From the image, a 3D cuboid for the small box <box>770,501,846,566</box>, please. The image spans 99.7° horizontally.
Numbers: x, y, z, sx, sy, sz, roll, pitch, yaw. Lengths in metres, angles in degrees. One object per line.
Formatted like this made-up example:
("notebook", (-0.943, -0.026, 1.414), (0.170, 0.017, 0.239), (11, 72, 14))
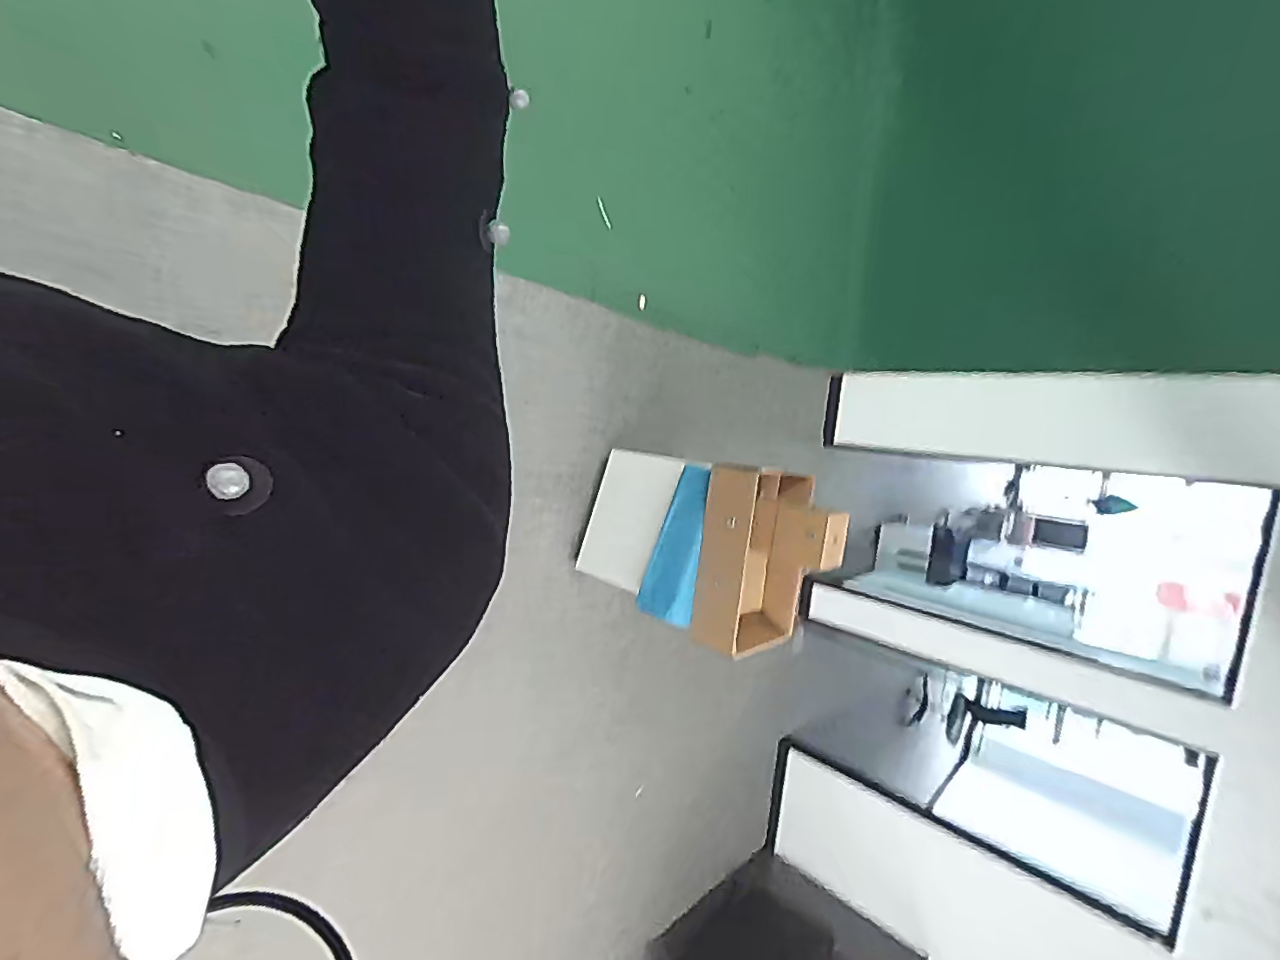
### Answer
("small box", (0.535, 0.163, 1.731), (0.168, 0.176, 0.179), (1, 99, -47))
